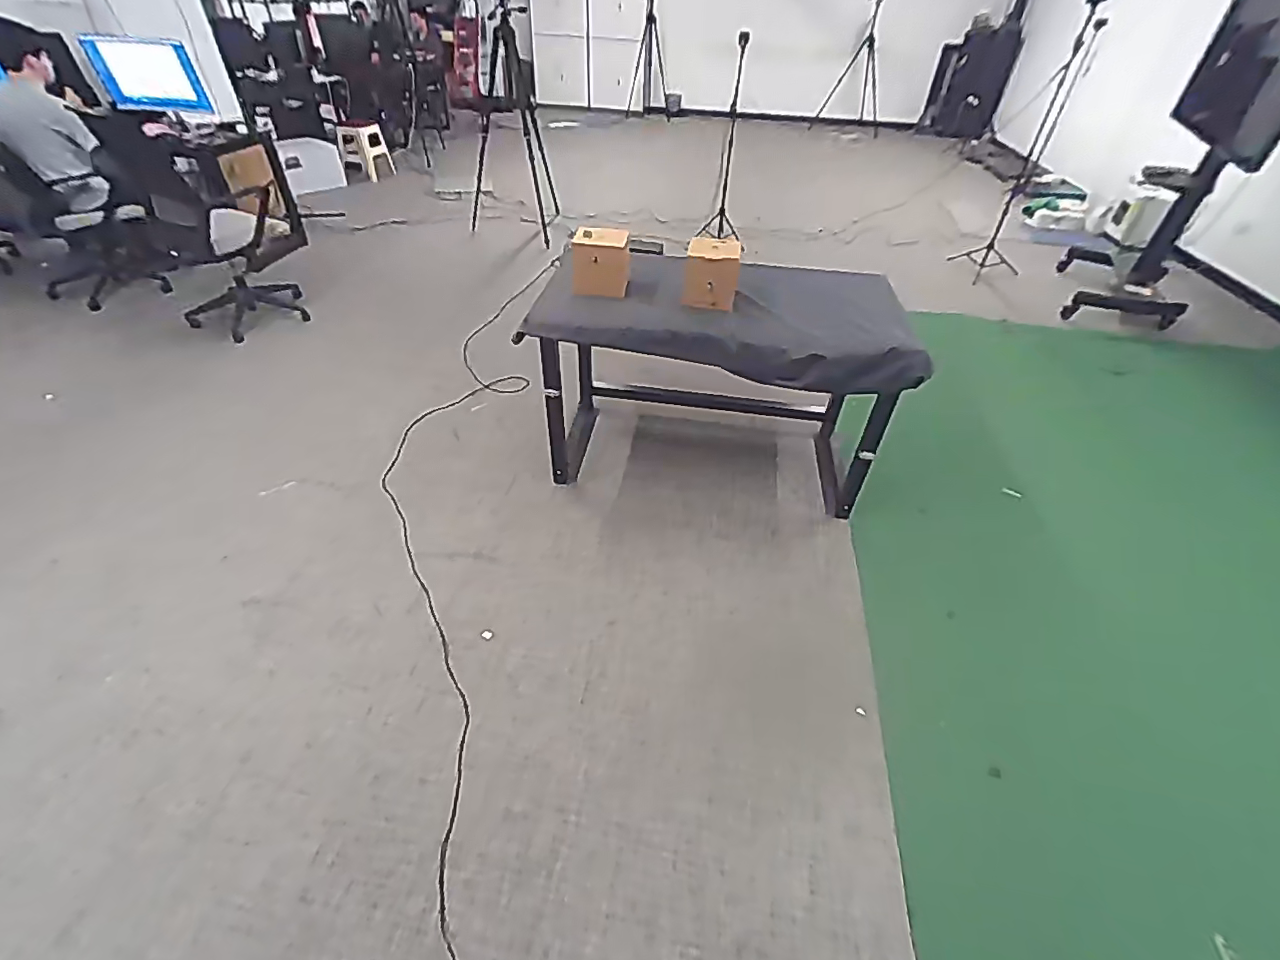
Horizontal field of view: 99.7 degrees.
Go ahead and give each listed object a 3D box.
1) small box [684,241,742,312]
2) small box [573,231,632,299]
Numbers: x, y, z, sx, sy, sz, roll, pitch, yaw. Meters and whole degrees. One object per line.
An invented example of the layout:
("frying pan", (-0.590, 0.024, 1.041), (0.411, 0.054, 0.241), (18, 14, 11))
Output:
("small box", (0.240, -0.672, 1.789), (0.168, 0.176, 0.179), (8, 42, 6))
("small box", (-0.124, -0.726, 1.828), (0.179, 0.176, 0.168), (6, 42, 2))
